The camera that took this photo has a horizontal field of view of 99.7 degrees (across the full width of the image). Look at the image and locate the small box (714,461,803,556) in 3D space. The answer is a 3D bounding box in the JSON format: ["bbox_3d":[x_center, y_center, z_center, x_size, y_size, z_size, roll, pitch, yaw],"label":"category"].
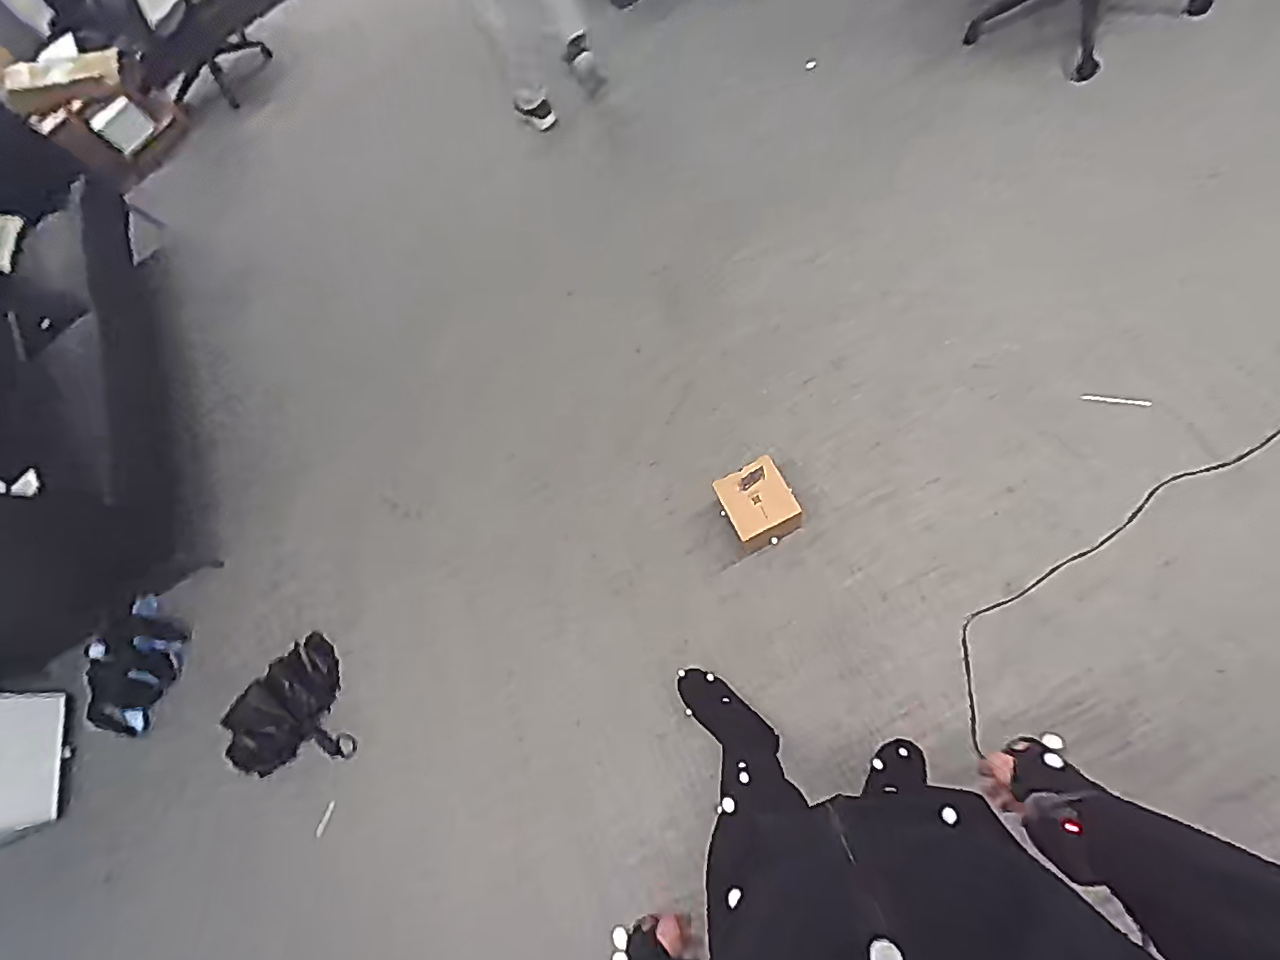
[{"bbox_3d":[0.318,0.083,1.441,0.168,0.176,0.179,-29,67,7],"label":"small box"}]
